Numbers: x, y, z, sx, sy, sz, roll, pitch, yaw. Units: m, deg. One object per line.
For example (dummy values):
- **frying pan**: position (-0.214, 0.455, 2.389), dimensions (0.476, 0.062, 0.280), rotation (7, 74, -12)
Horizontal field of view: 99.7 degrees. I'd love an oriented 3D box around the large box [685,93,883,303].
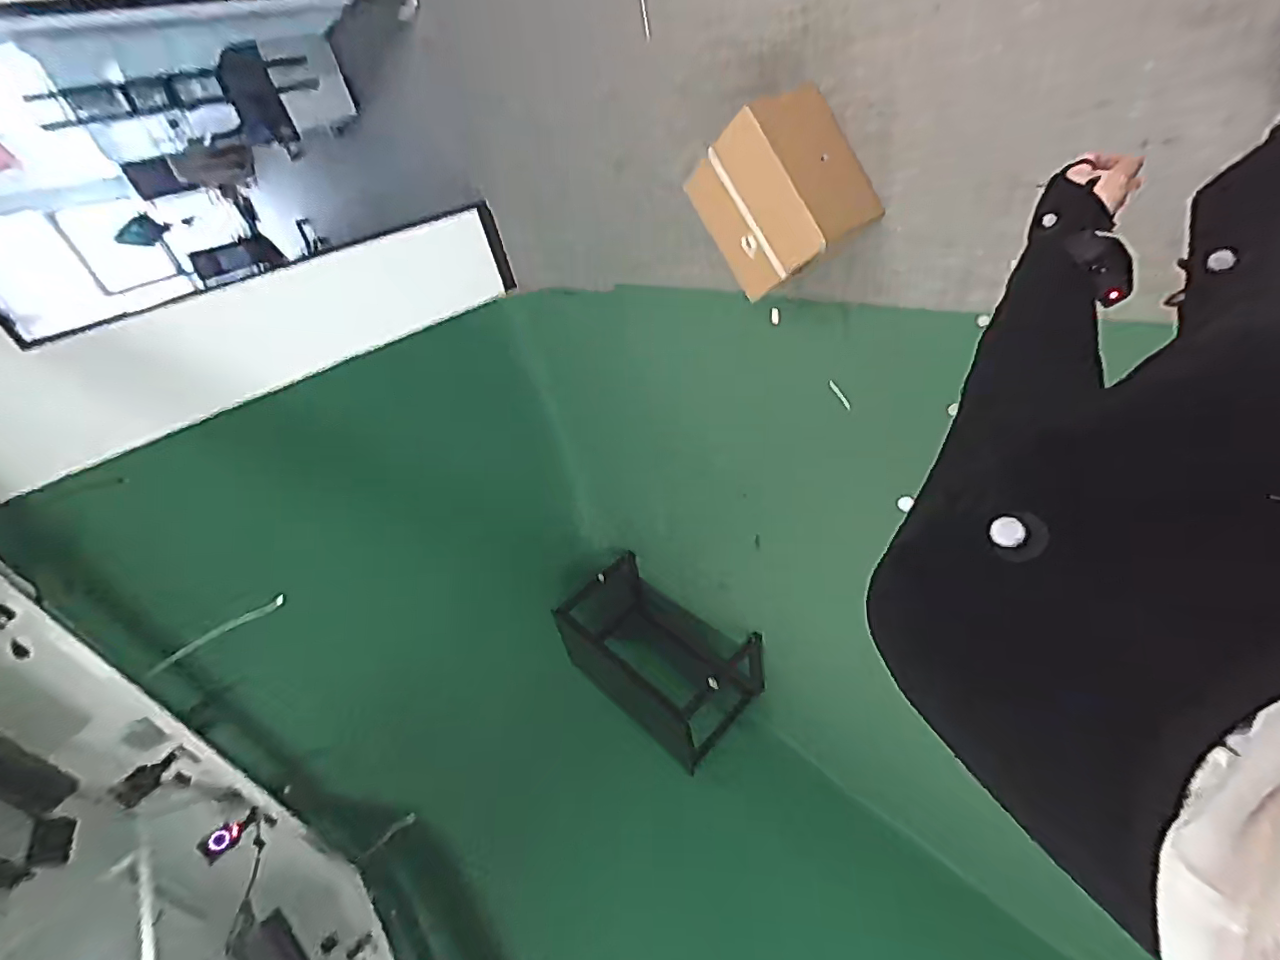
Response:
- **large box**: position (0.412, -0.805, 1.564), dimensions (0.408, 0.320, 0.320), rotation (57, 151, -5)
